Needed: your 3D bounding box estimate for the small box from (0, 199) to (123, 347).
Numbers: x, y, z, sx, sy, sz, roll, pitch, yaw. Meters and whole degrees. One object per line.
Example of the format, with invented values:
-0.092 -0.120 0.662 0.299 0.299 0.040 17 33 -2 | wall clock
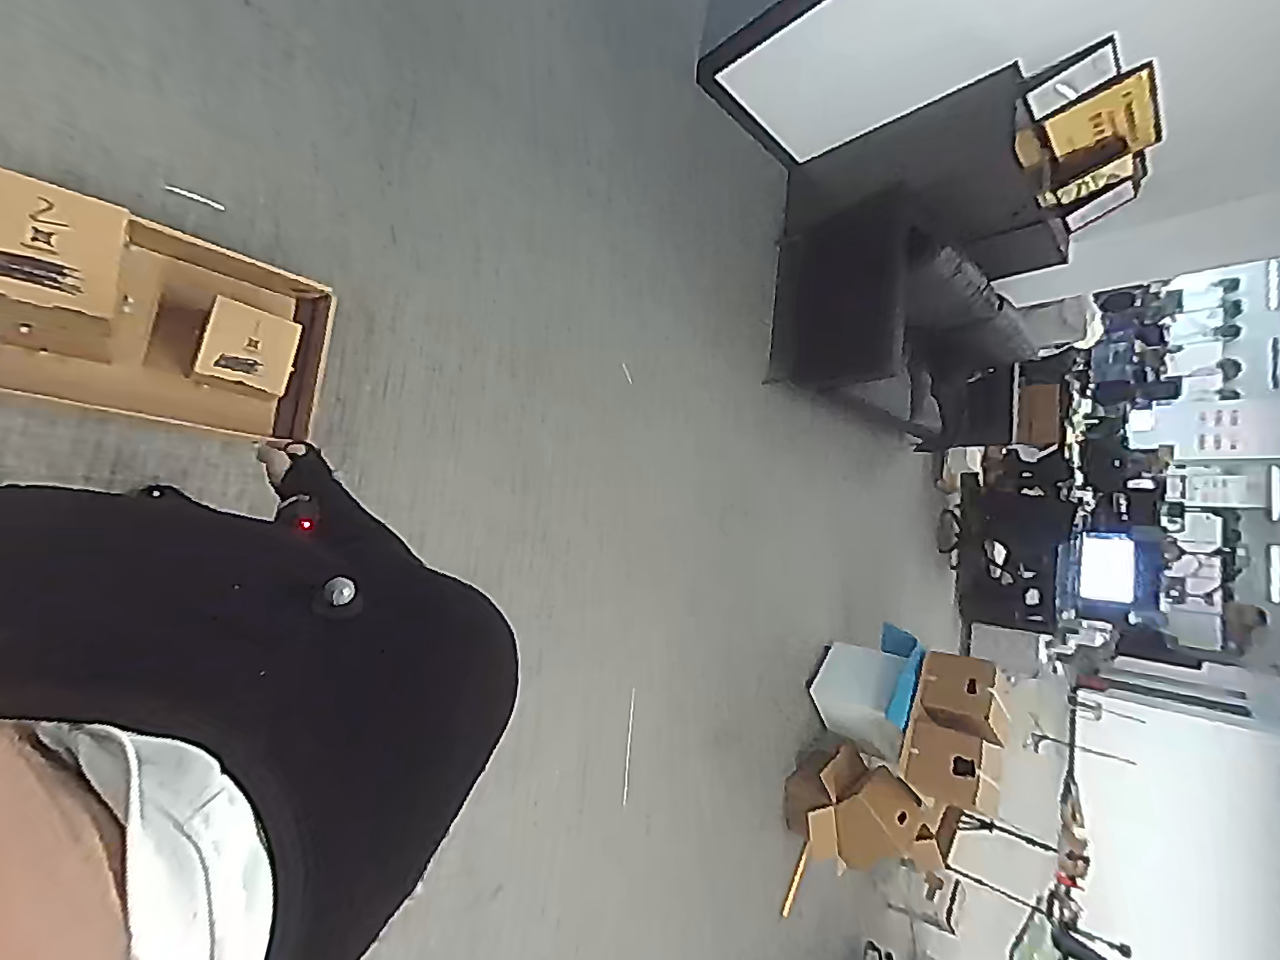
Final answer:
-1.020 -0.346 0.932 0.168 0.176 0.179 9 84 -44 | small box
